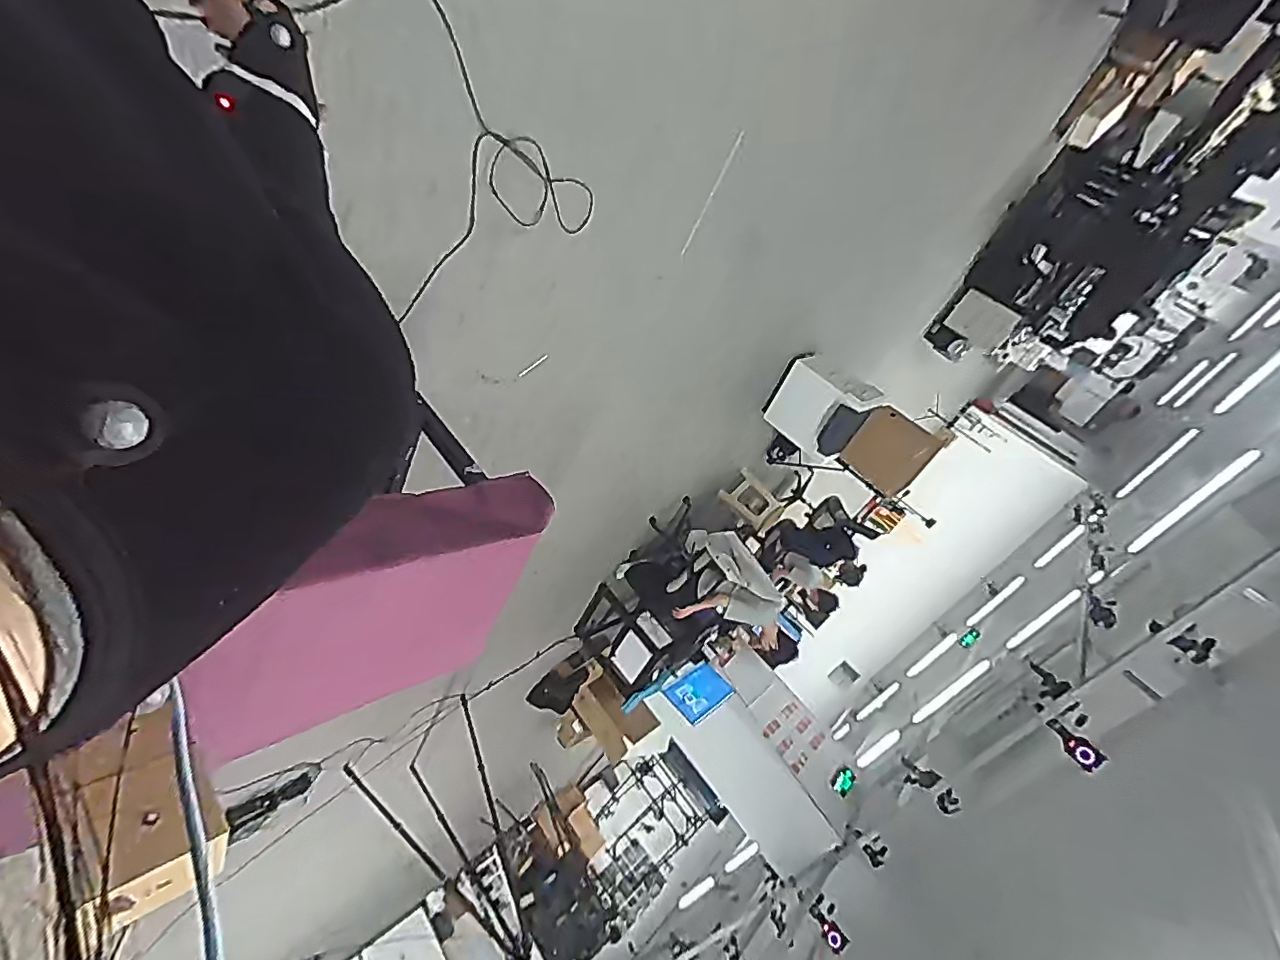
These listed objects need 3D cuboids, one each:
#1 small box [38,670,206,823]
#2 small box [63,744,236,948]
[{"bbox_3d":[-0.877,0.460,0.924,0.179,0.176,0.168,-13,140,-48],"label":"small box"},{"bbox_3d":[-0.771,0.563,0.852,0.179,0.176,0.168,-12,140,-49],"label":"small box"}]
